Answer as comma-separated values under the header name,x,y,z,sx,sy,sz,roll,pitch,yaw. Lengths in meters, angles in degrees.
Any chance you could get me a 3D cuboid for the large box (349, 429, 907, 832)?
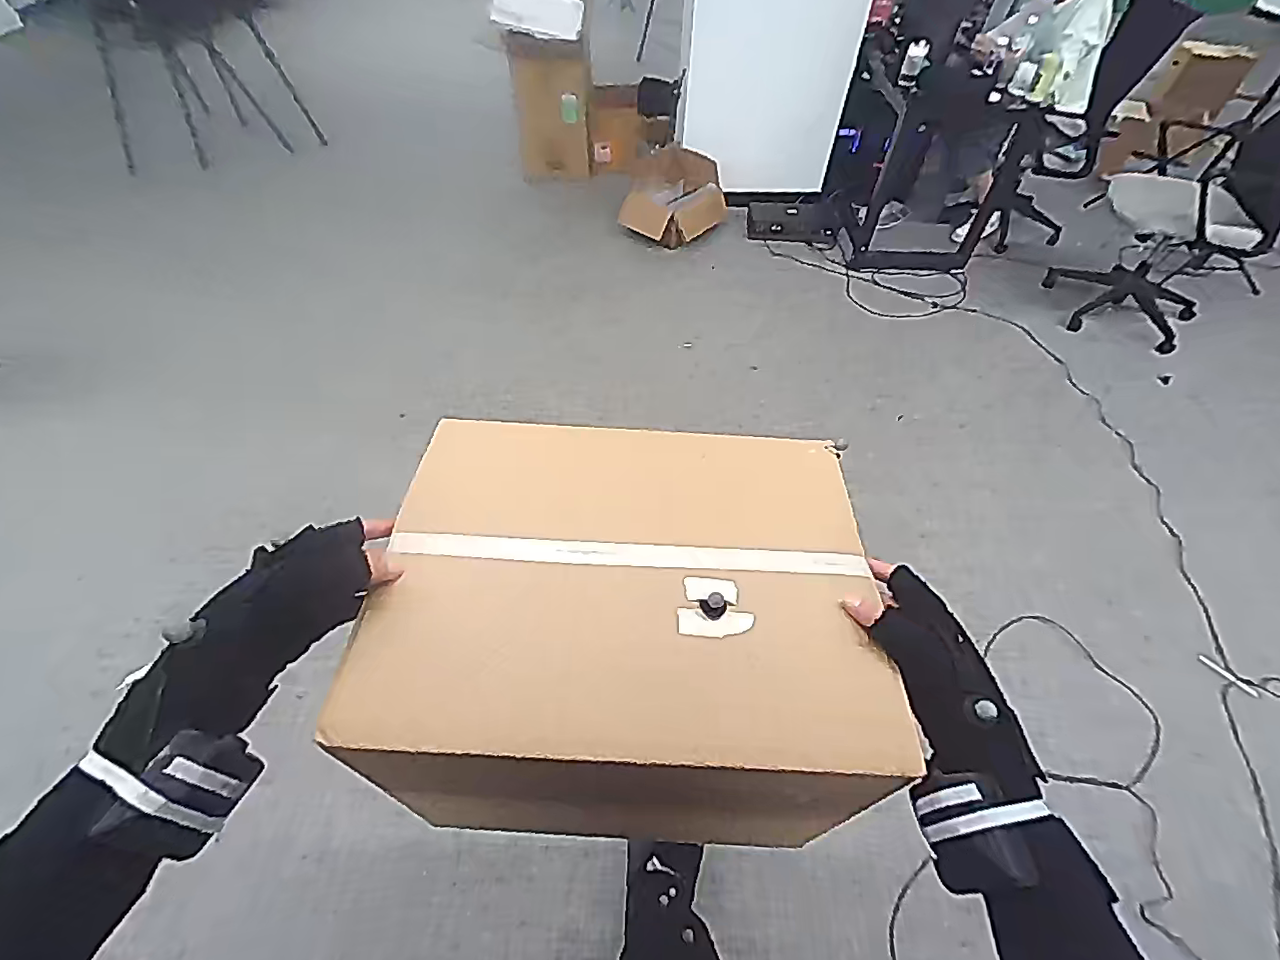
name,x,y,z,sx,sy,sz,roll,pitch,yaw
large box,-0.011,0.168,0.586,0.408,0.320,0.320,4,49,-1
